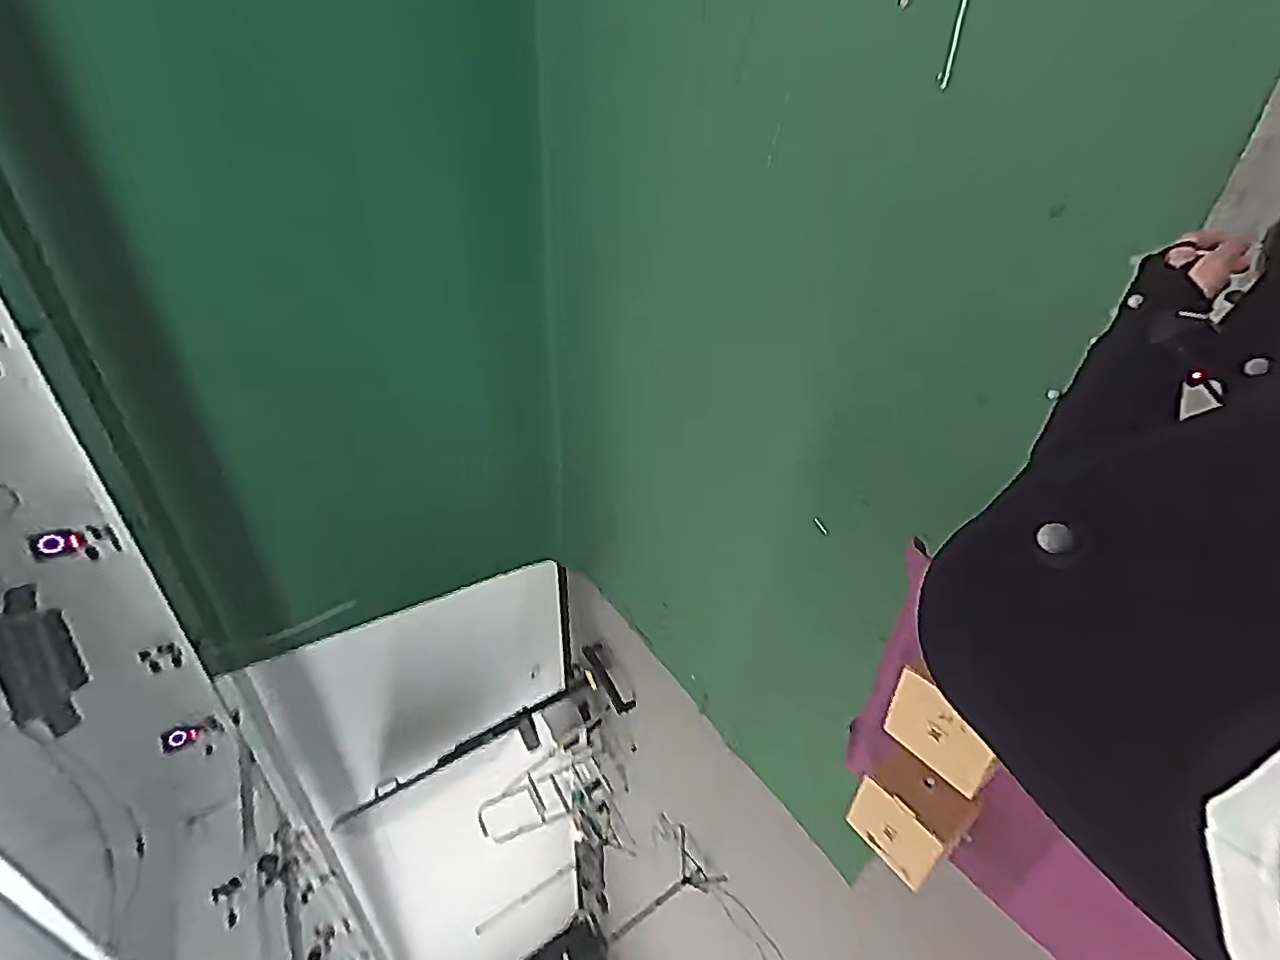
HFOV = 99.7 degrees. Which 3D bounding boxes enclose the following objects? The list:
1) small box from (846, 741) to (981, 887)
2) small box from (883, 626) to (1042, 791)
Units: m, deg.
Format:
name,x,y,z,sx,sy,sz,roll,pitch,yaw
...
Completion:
name,x,y,z,sx,sy,sz,roll,pitch,yaw
small box,0.567,0.675,1.121,0.168,0.176,0.179,38,132,44
small box,0.574,0.400,0.967,0.168,0.176,0.179,35,134,44
